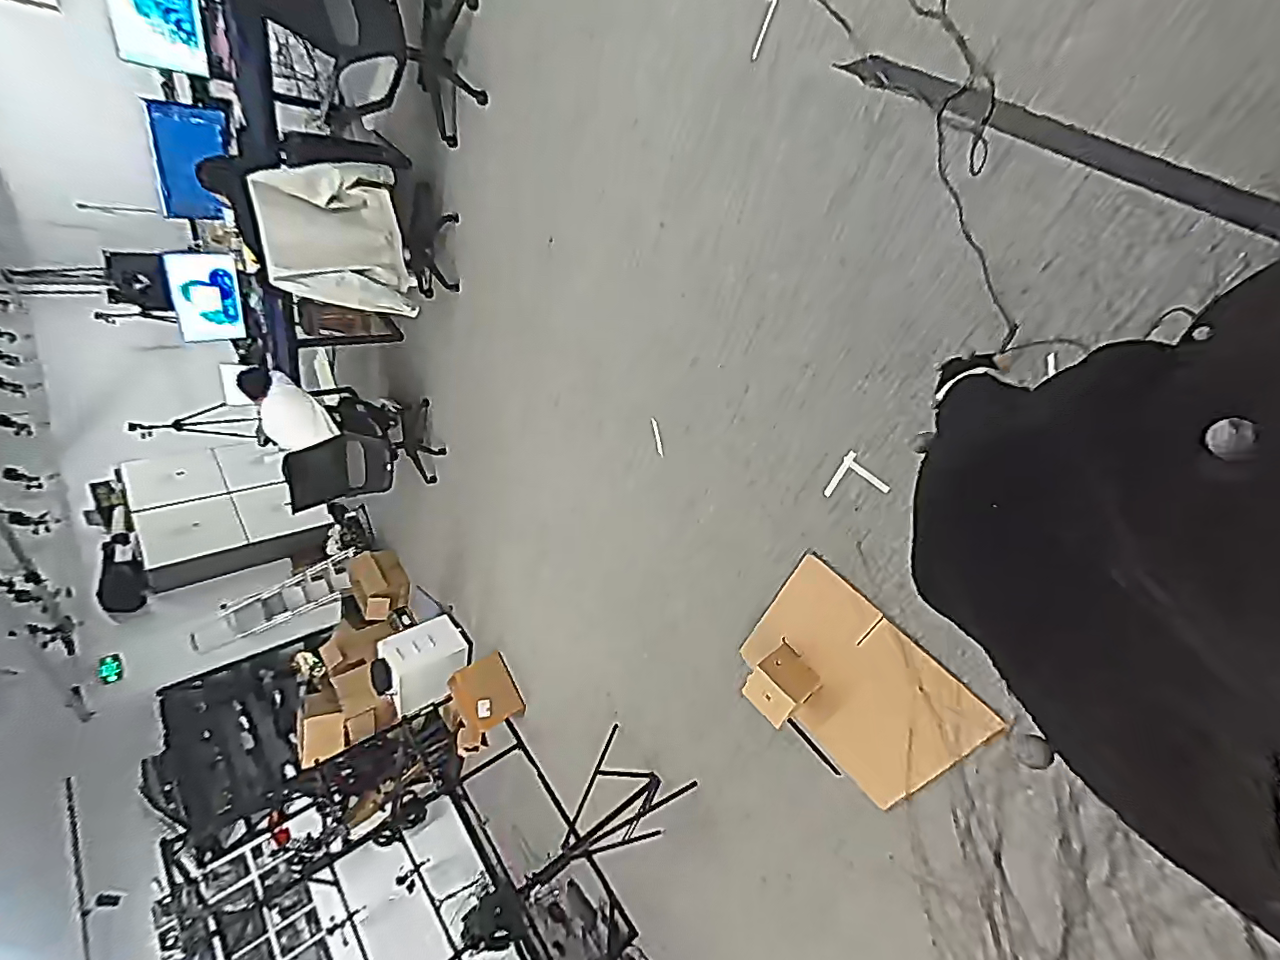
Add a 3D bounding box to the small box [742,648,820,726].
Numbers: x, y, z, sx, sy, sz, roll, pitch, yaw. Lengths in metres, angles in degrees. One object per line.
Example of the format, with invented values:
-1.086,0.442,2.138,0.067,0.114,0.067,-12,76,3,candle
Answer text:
0.499,0.720,1.912,0.179,0.176,0.168,41,132,31,small box
